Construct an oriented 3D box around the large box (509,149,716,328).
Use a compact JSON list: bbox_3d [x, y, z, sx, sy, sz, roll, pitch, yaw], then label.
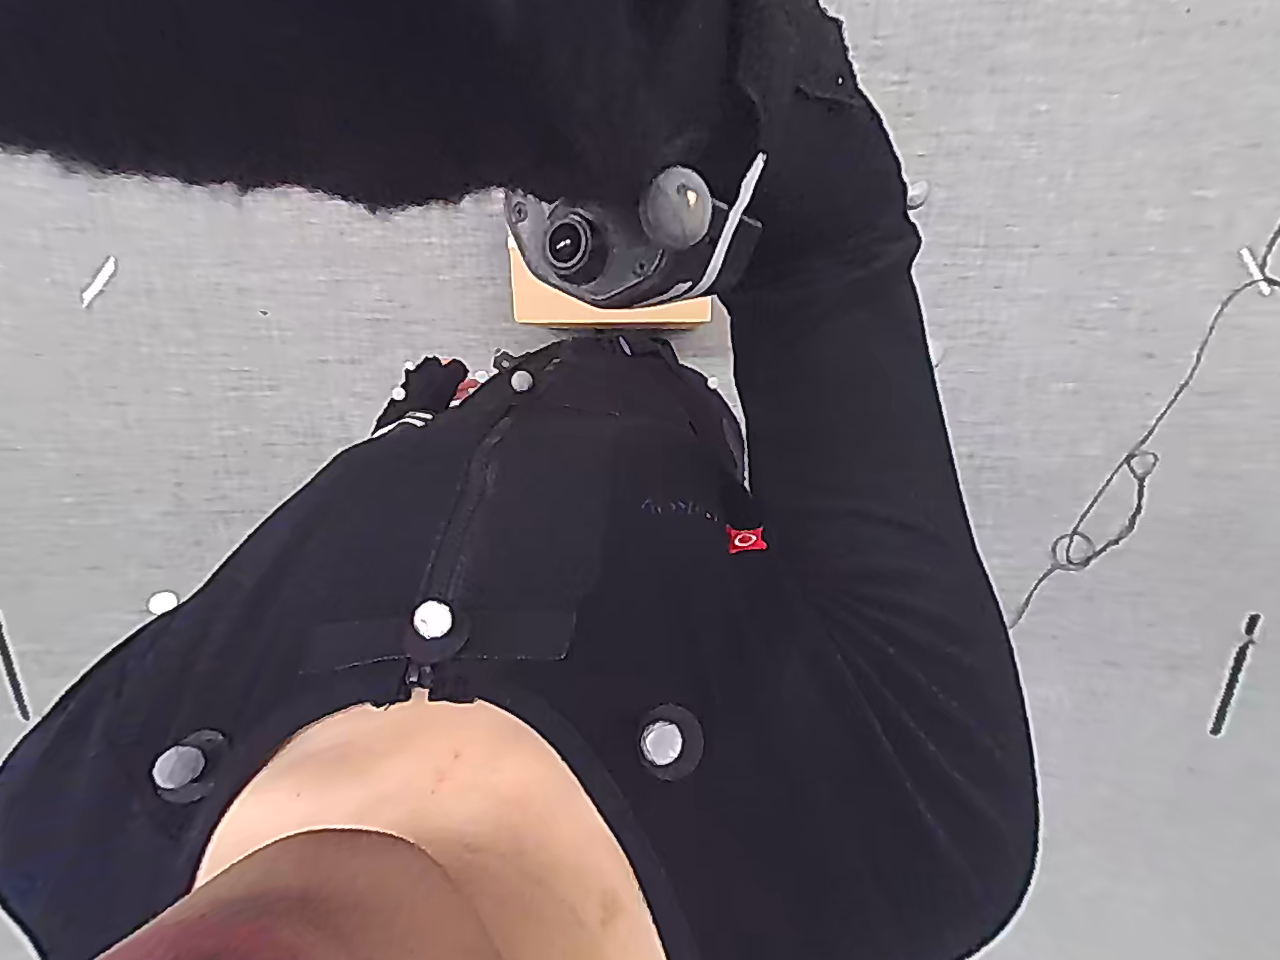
[{"bbox_3d":[-0.051,-0.514,1.214,0.408,0.320,0.320,-1,104,0],"label":"large box"}]
